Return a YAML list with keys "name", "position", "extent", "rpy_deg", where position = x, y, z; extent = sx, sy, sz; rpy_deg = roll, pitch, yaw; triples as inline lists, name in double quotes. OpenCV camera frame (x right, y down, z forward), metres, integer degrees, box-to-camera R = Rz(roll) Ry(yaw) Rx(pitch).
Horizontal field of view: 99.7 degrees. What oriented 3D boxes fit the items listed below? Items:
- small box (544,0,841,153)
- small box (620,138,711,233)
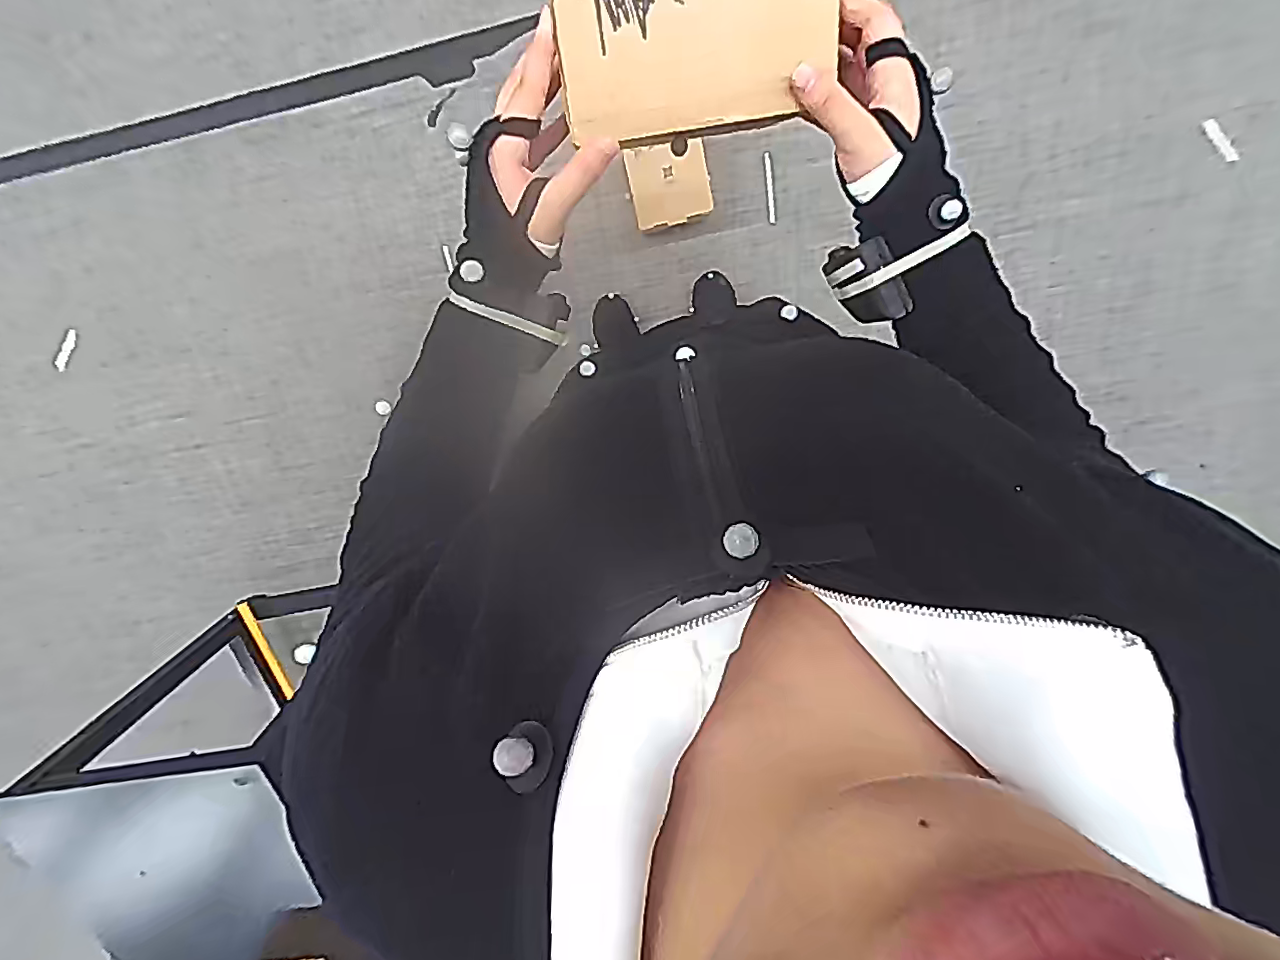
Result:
- name: "small box"
  position: [0.025, -0.335, 0.375]
  extent: [0.179, 0.176, 0.168]
  rpy_deg: [-9, 120, 0]
- name: "small box"
  position: [0.057, -0.660, 1.200]
  extent: [0.168, 0.176, 0.179]
  rpy_deg: [-12, 111, 6]
